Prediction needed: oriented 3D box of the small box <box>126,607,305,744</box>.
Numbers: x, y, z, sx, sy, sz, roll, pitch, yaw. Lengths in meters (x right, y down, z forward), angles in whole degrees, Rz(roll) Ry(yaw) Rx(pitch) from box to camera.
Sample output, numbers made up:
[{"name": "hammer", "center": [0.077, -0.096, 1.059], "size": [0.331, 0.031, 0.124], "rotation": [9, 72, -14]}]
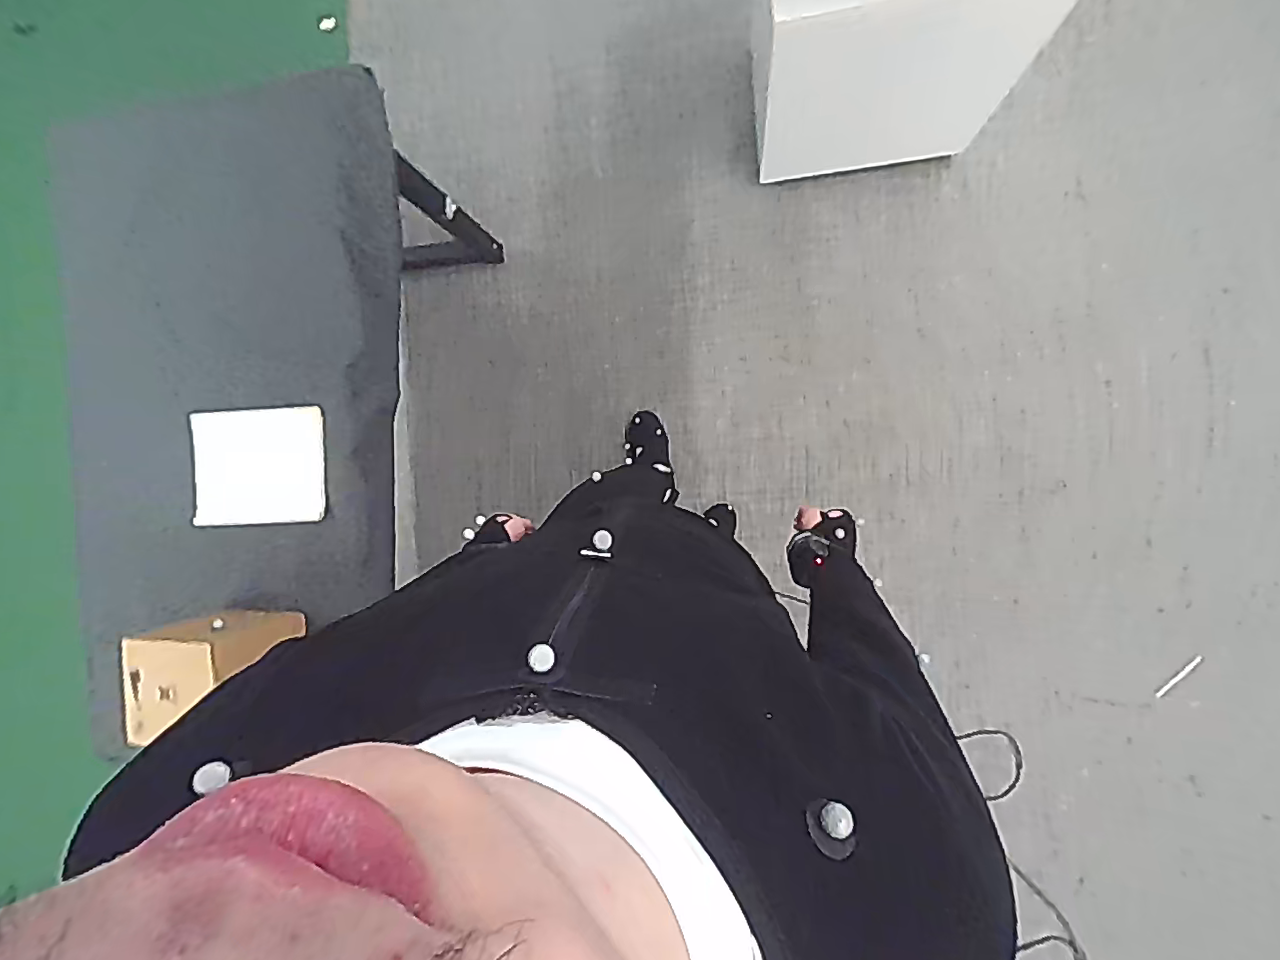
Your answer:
[{"name": "small box", "center": [-0.688, 0.313, 0.898], "size": [0.179, 0.176, 0.168], "rotation": [-2, 92, 10]}]
